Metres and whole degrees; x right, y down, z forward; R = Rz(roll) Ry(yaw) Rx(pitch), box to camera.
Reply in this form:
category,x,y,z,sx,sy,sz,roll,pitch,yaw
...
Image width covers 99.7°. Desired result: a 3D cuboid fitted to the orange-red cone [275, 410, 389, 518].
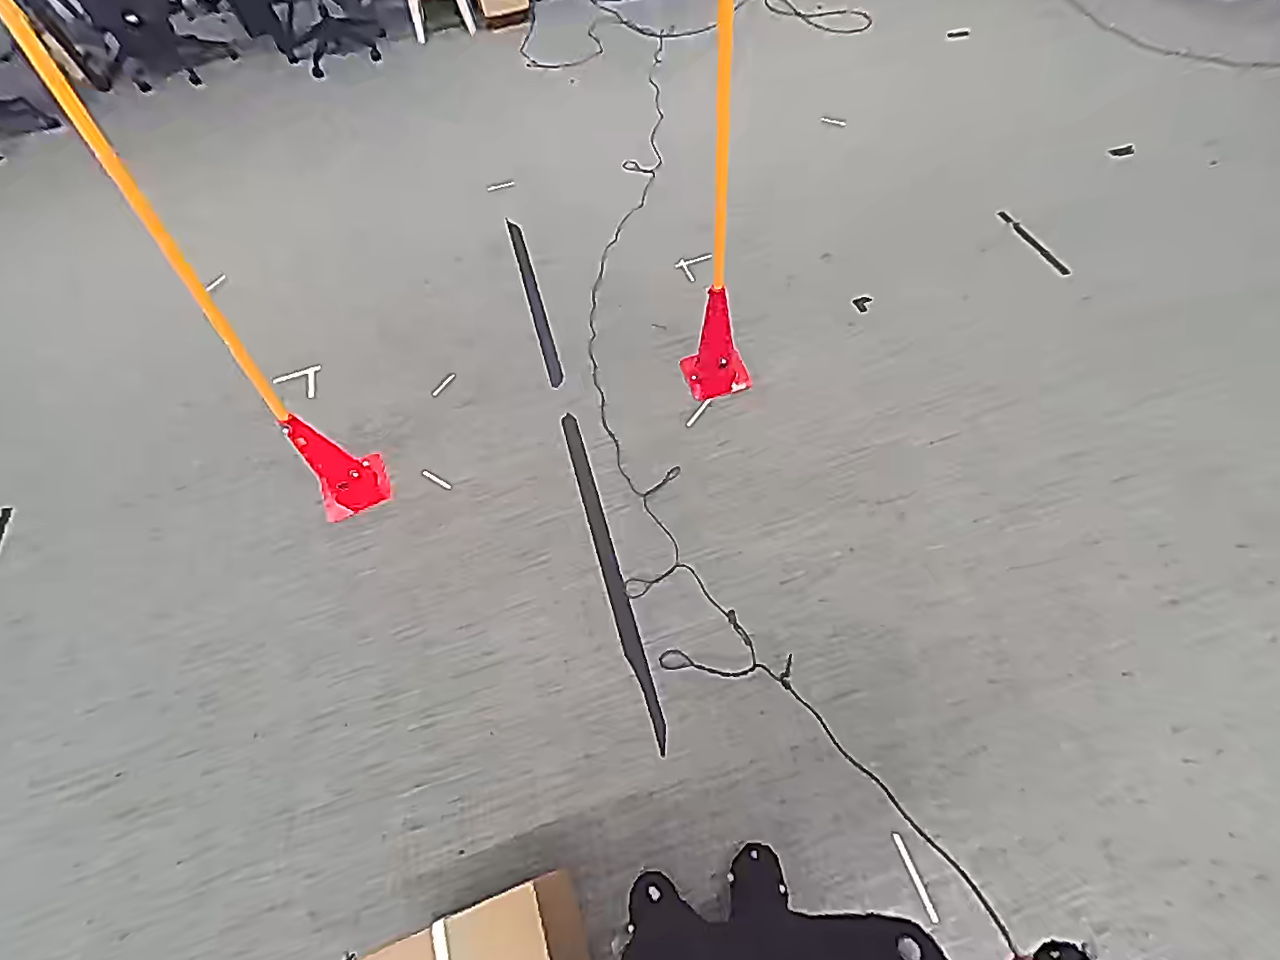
category,x,y,z,sx,sy,sz,roll,pitch,yaw
orange-red cone,-0.909,-0.075,1.544,0.199,0.360,0.198,-25,59,-8
